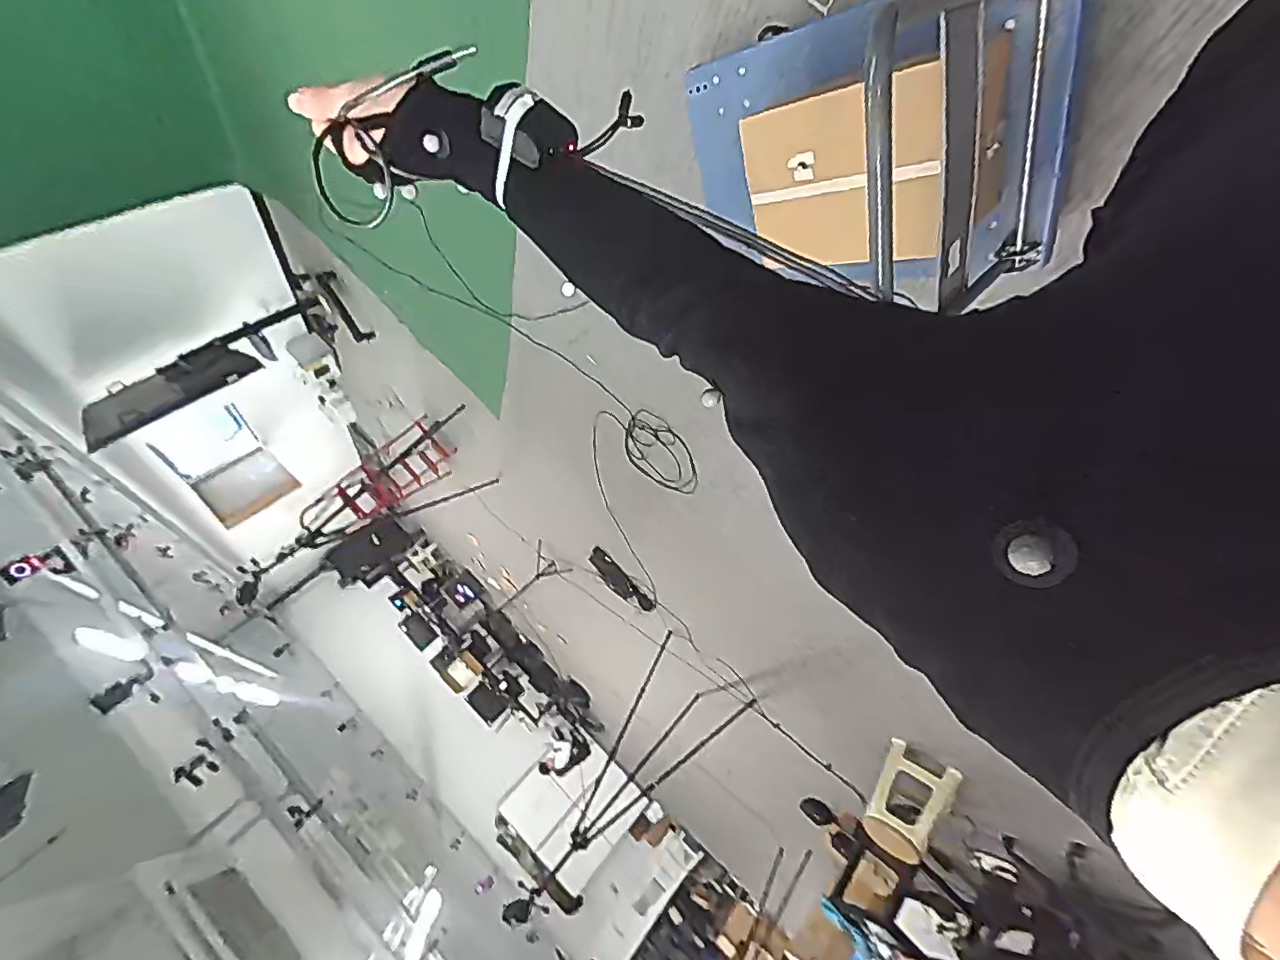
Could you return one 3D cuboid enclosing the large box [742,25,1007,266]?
[{"bbox_3d":[0.490,-0.674,1.136,0.408,0.320,0.320,18,138,44],"label":"large box"}]
